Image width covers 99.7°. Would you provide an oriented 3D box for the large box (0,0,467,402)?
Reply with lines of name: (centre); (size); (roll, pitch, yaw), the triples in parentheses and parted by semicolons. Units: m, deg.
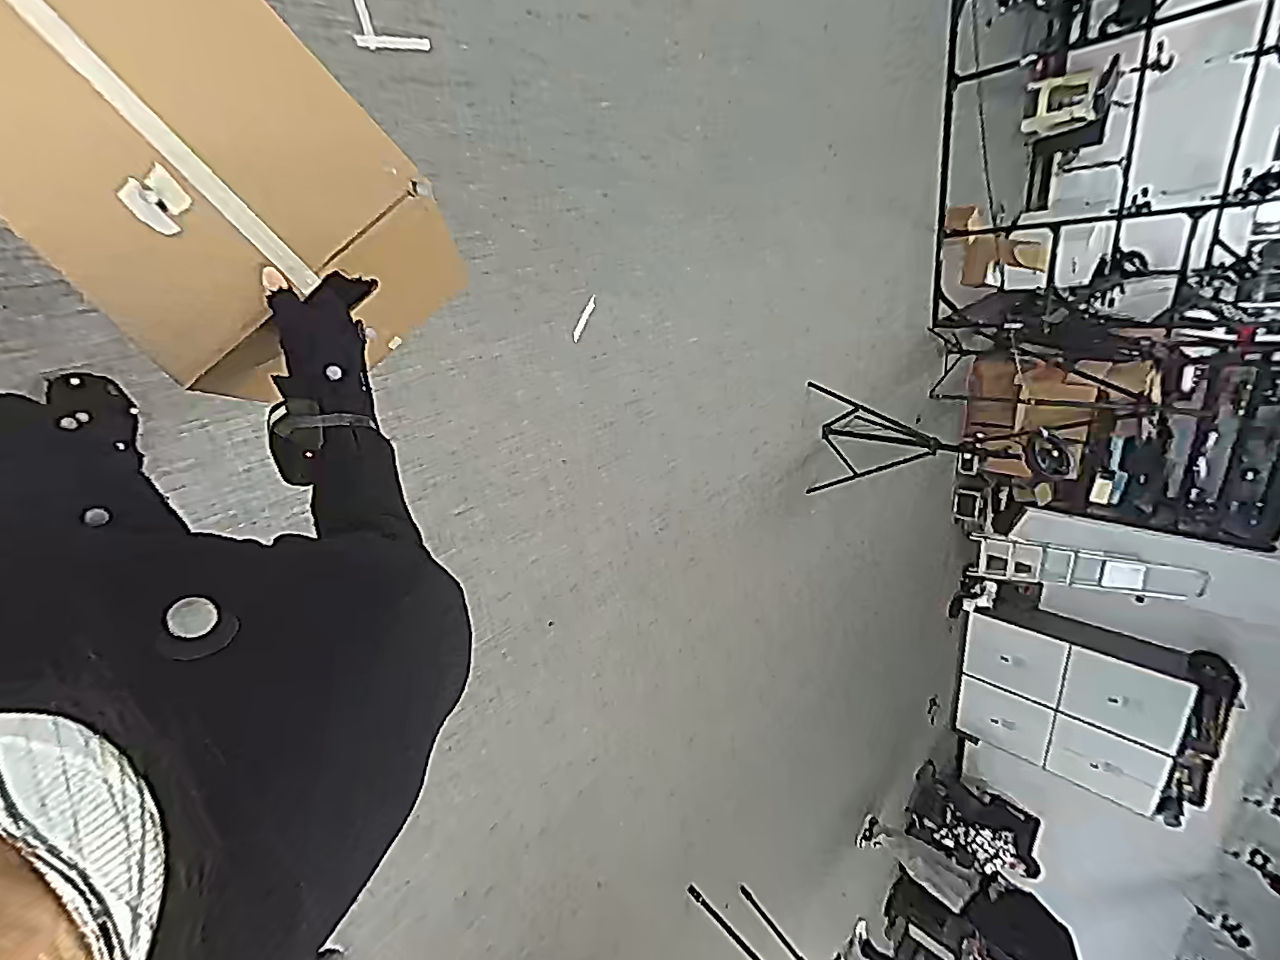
large box: (-0.480, -0.345, 0.646); (0.320, 0.320, 0.408); (-44, 100, -2)
